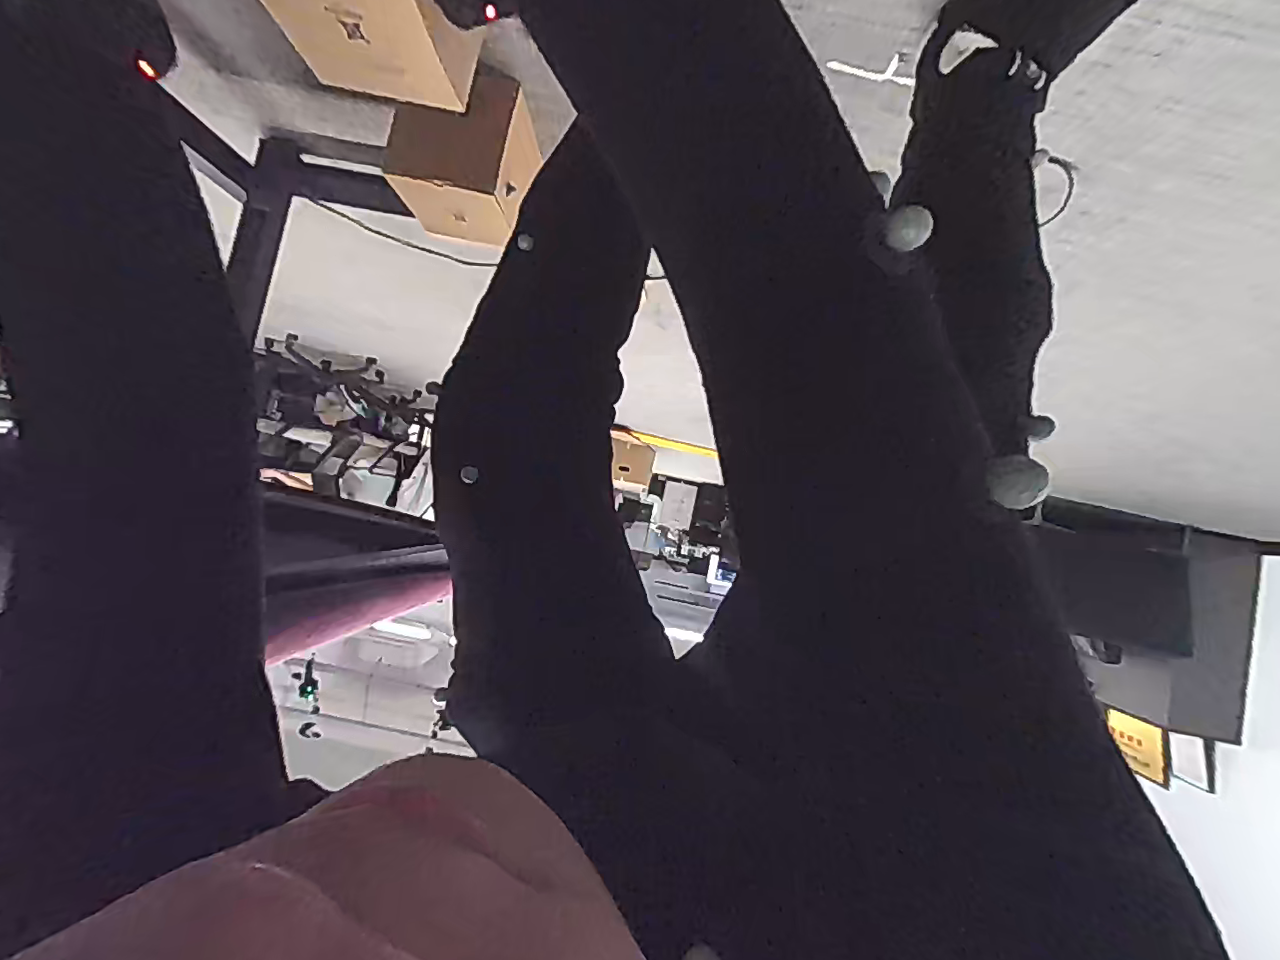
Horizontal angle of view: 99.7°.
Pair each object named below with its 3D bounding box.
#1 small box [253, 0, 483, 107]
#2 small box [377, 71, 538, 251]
[{"bbox_3d":[-0.258,-0.504,0.505,0.168,0.176,0.179,12,177,1],"label":"small box"},{"bbox_3d":[-0.265,-0.486,0.829,0.168,0.176,0.179,12,176,2],"label":"small box"}]
